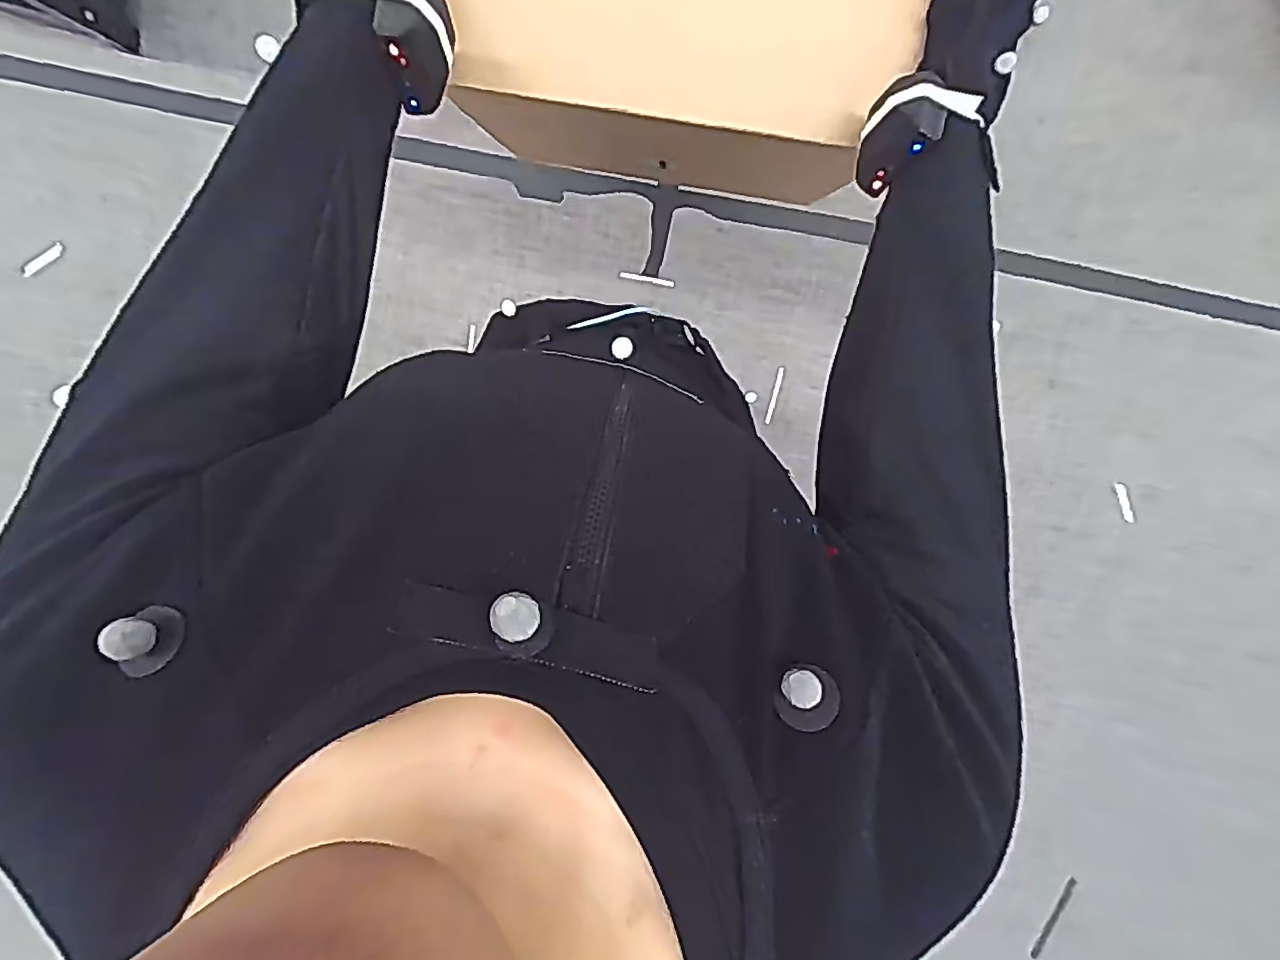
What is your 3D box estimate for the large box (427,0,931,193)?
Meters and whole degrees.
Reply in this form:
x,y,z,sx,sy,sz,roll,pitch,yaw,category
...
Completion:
x,y,z,sx,sy,sz,roll,pitch,yaw,category
0.048,-0.503,0.541,0.408,0.320,0.320,10,110,0,large box
